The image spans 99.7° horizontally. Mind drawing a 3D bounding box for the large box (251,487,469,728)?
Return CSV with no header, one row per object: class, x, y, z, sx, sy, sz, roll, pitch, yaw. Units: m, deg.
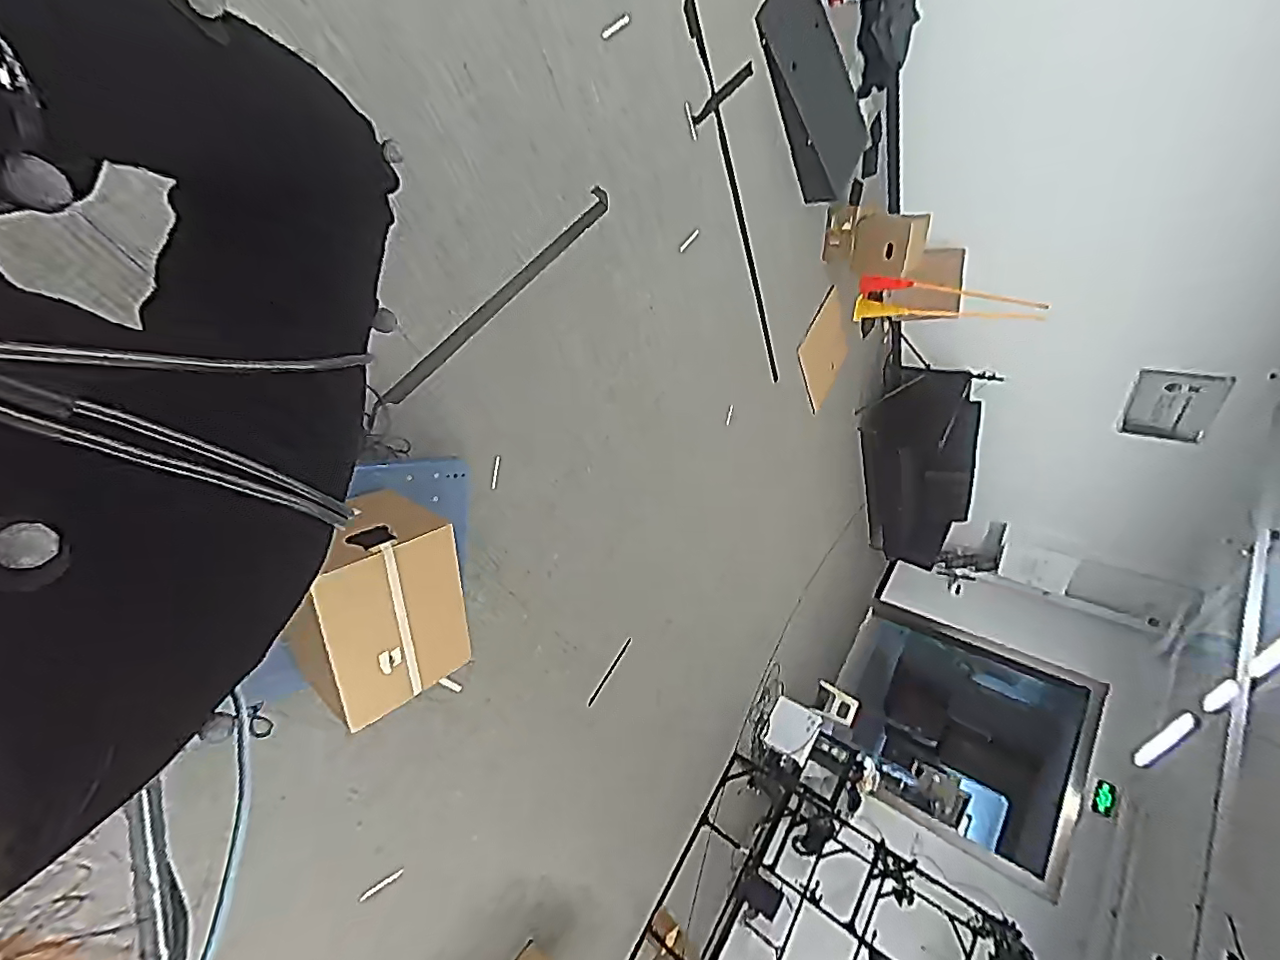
large box,-0.652,0.279,1.291,0.320,0.320,0.408,-24,124,-45
